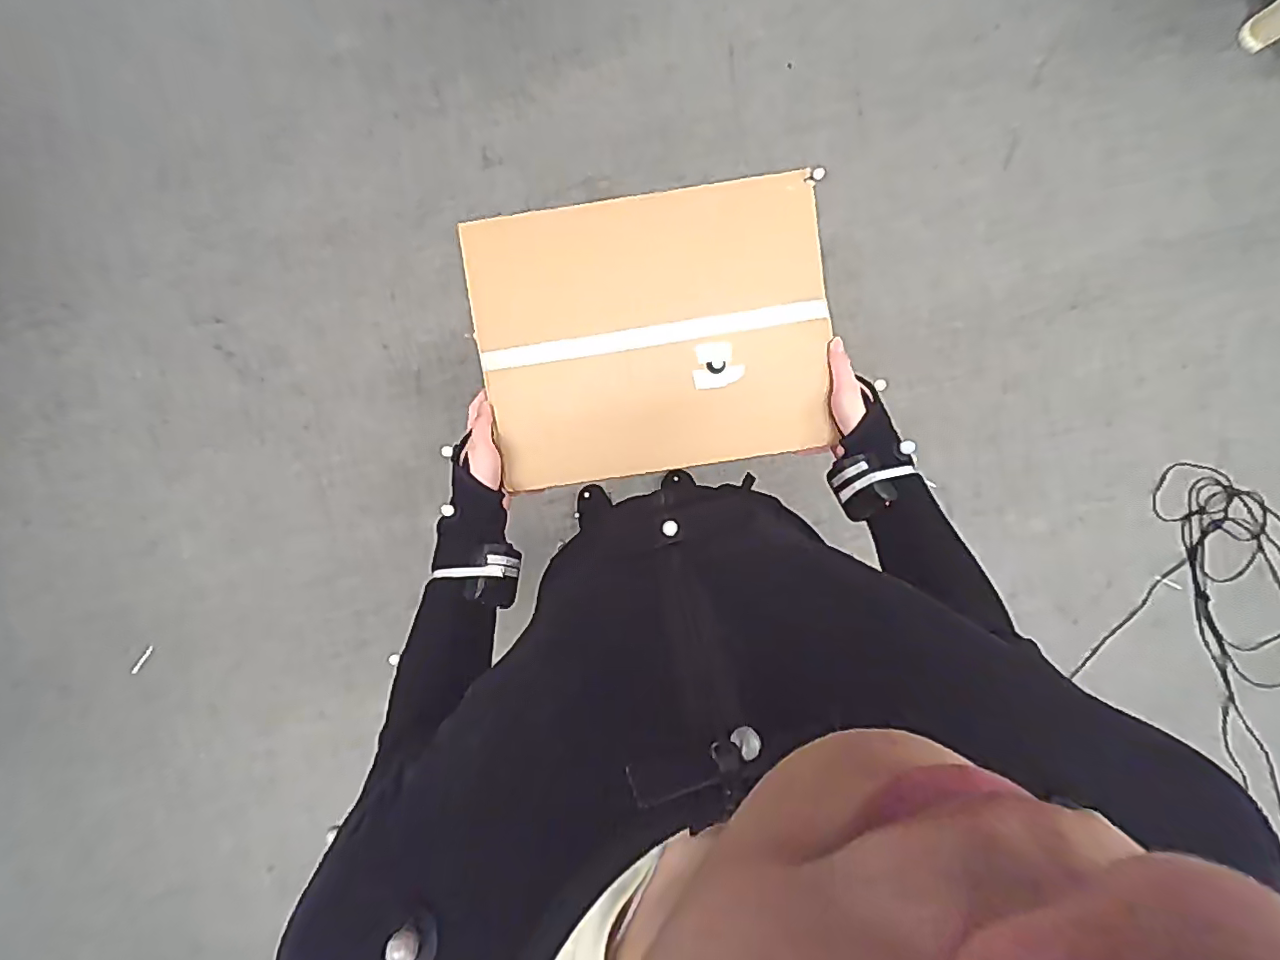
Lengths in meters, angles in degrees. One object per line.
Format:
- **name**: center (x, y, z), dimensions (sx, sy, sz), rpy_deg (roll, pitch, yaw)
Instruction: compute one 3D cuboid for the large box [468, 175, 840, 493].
- **large box**: center (0.018, -0.179, 0.781), dimensions (0.408, 0.320, 0.320), rpy_deg (-9, 96, 0)
